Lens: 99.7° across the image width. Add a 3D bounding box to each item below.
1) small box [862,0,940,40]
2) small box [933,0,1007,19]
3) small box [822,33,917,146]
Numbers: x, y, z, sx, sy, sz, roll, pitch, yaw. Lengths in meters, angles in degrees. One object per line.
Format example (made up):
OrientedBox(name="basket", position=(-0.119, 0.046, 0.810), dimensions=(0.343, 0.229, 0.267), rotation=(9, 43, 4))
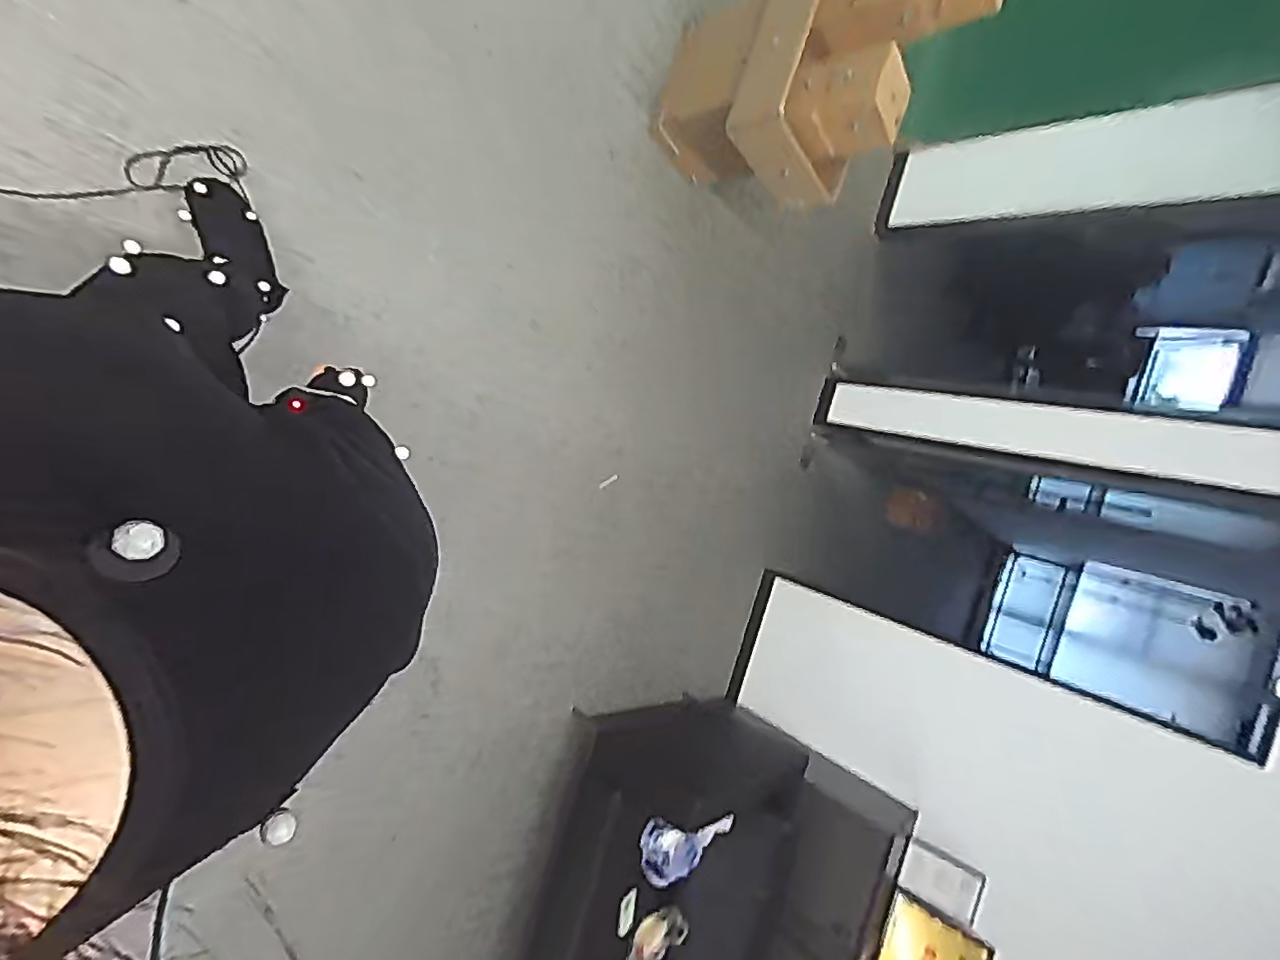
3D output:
OrientedBox(name="small box", position=(0.728, -1.355, 1.474), dimensions=(0.179, 0.176, 0.168), rotation=(13, 95, -48))
OrientedBox(name="small box", position=(0.846, -1.329, 1.364), dimensions=(0.168, 0.176, 0.179), rotation=(11, 97, -47))
OrientedBox(name="small box", position=(0.622, -1.047, 1.471), dimensions=(0.179, 0.176, 0.168), rotation=(23, 88, -47))
